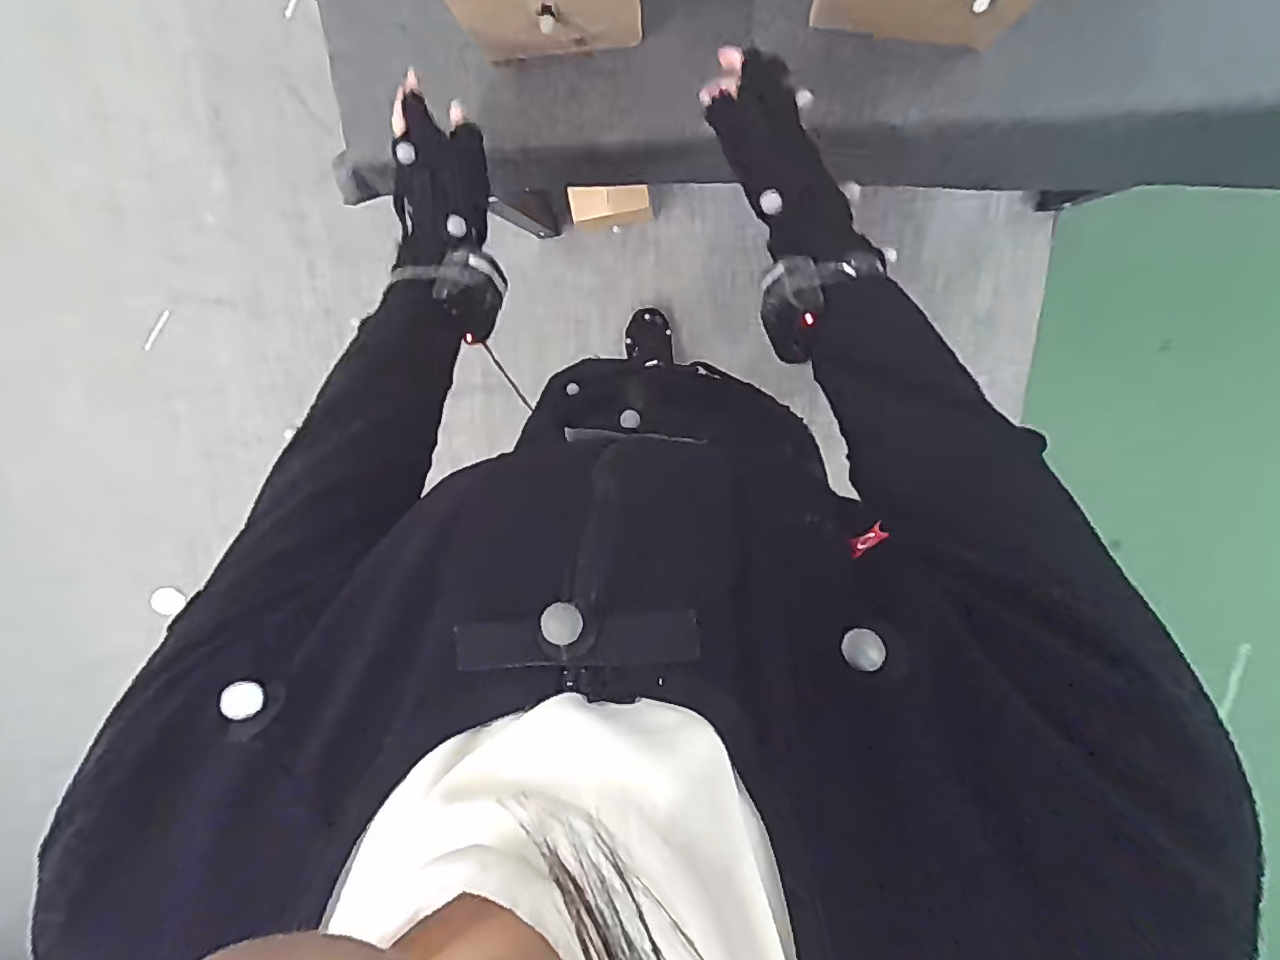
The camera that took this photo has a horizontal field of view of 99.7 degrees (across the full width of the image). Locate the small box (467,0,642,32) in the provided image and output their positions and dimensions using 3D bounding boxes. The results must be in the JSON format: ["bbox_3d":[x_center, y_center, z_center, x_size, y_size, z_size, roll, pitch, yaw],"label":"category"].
[{"bbox_3d":[-0.088,-0.516,0.453,0.168,0.176,0.179,-3,106,5],"label":"small box"}]

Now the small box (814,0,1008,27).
[{"bbox_3d":[0.258,-0.504,0.432,0.179,0.176,0.168,9,106,3],"label":"small box"}]
